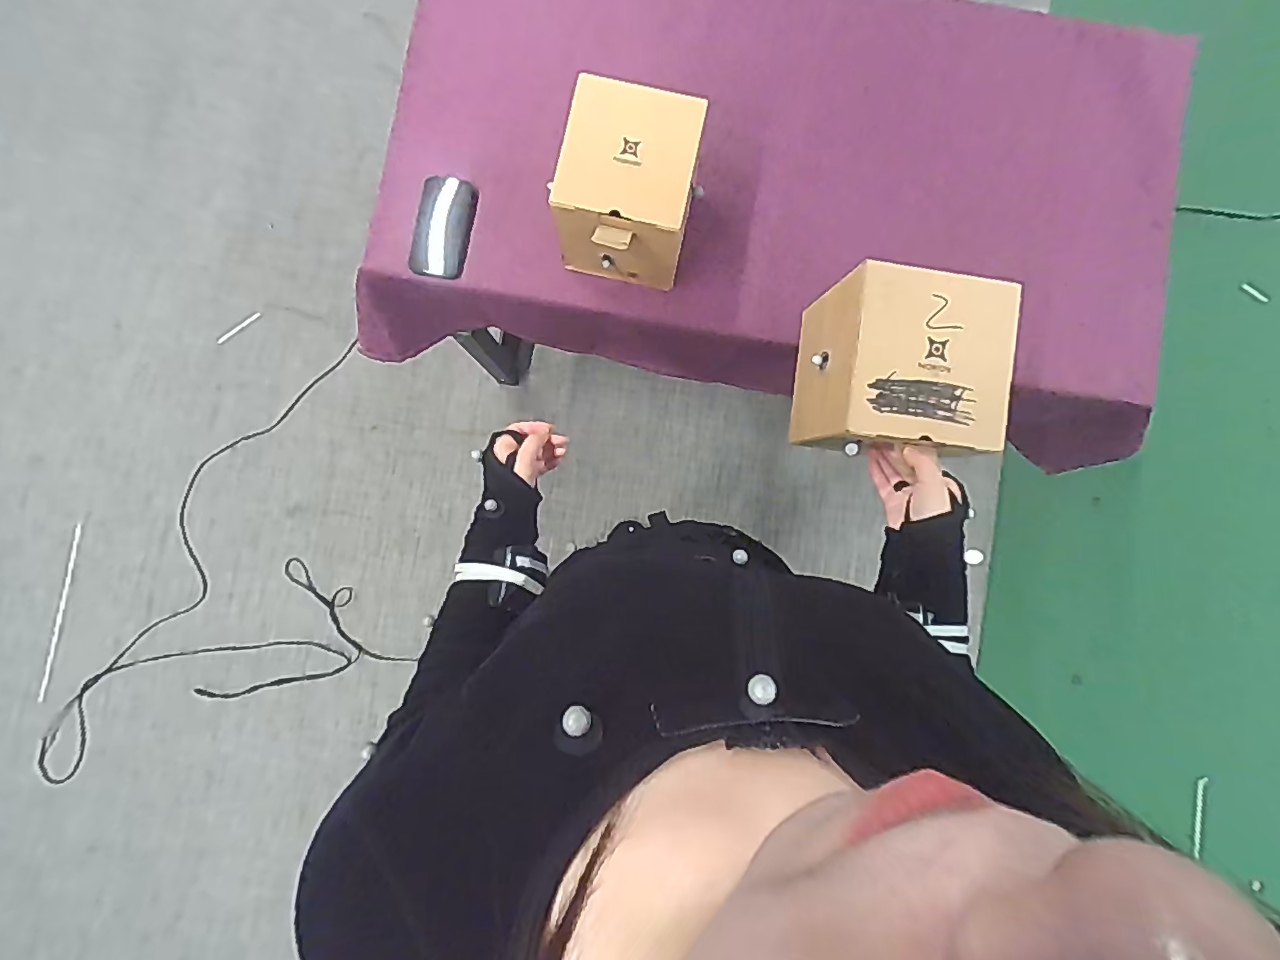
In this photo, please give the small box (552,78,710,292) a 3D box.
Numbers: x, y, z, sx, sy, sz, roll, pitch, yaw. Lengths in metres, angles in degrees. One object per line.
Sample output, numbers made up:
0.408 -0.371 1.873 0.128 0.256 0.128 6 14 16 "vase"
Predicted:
-0.014 -0.390 0.741 0.168 0.176 0.179 13 85 -1 "small box"
